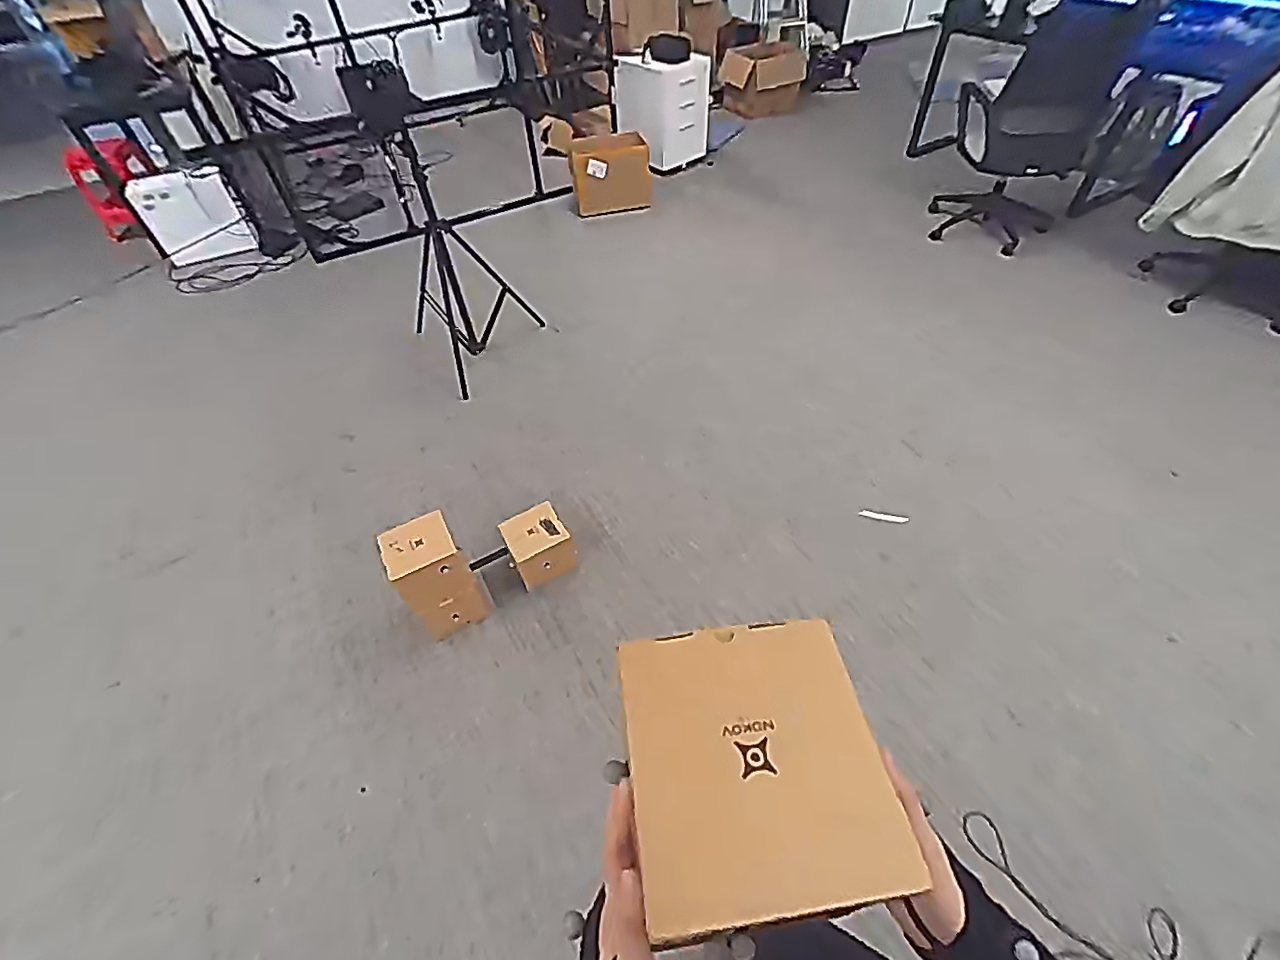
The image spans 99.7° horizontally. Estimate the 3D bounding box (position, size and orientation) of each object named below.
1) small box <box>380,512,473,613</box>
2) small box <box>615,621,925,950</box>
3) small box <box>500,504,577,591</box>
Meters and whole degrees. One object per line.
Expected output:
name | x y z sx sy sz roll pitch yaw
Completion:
small box | -0.571 0.225 1.467 0.179 0.176 0.168 -25 51 -17
small box | 0.073 0.235 0.414 0.168 0.176 0.179 -6 46 -6
small box | -0.307 0.212 1.679 0.179 0.176 0.168 -26 53 -16
